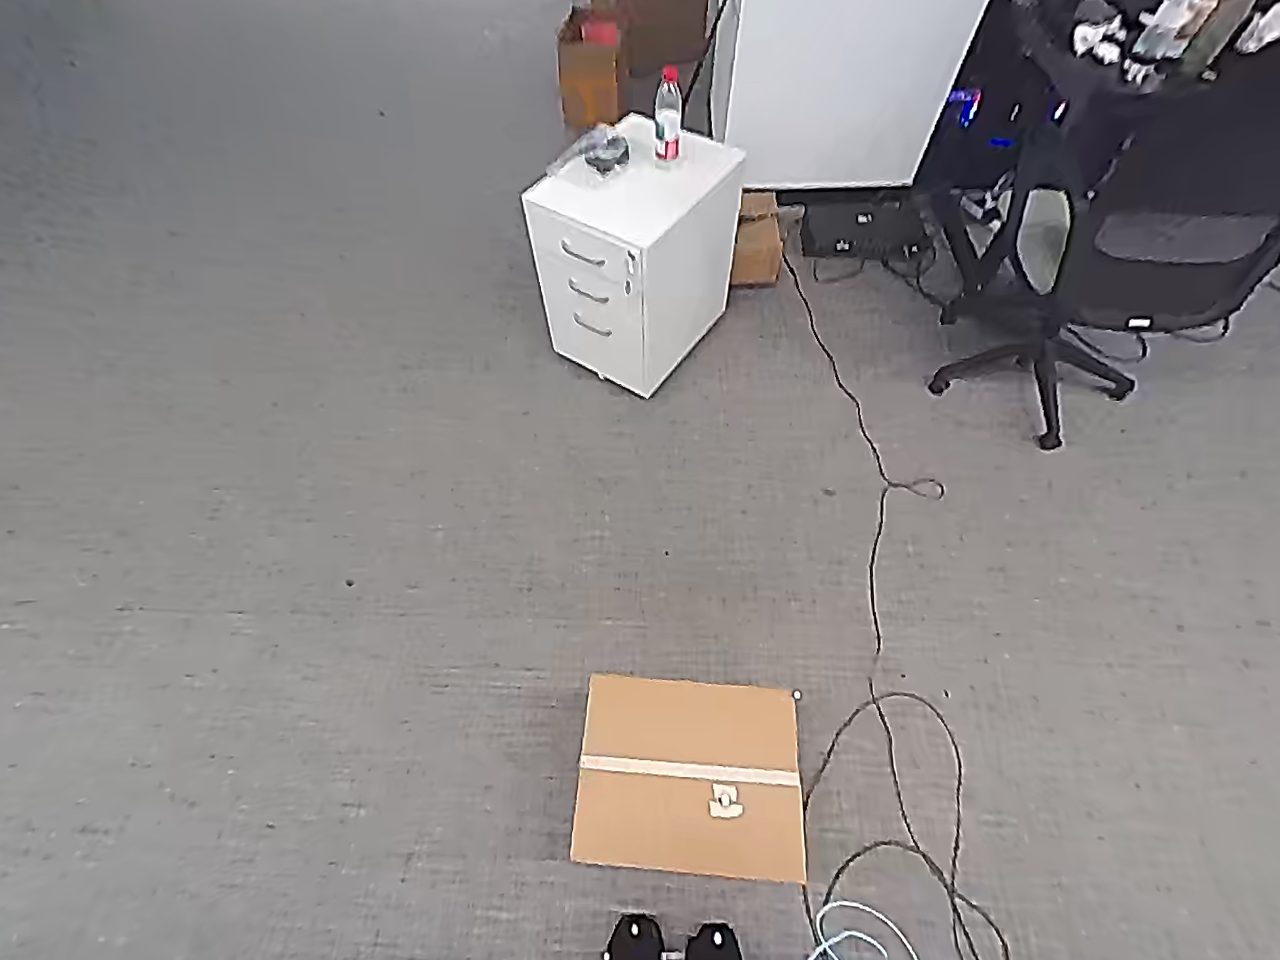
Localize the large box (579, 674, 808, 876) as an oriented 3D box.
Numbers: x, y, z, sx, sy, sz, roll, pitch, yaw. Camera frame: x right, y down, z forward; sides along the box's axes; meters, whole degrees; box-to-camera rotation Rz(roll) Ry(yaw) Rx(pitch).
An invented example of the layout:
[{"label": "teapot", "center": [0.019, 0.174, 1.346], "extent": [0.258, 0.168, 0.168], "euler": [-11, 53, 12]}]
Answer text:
[{"label": "large box", "center": [0.100, 0.612, 1.132], "extent": [0.408, 0.320, 0.320], "euler": [4, 59, 3]}]
